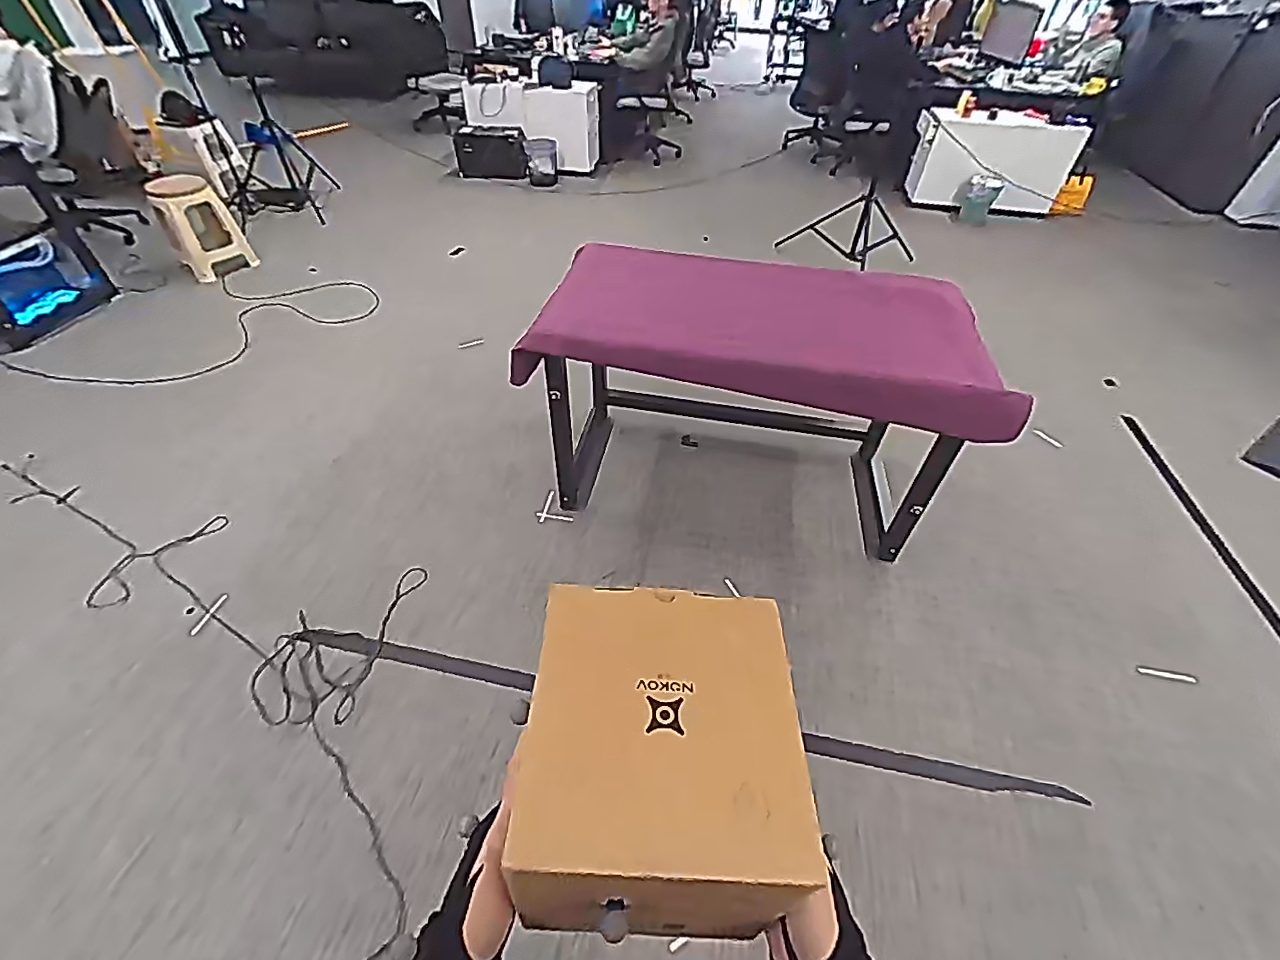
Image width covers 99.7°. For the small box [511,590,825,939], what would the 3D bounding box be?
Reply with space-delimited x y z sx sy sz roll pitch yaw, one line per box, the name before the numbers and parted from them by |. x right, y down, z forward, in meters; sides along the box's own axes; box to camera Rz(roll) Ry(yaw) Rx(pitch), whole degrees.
small box | 0.013 0.204 0.390 0.168 0.176 0.179 4 41 -2
